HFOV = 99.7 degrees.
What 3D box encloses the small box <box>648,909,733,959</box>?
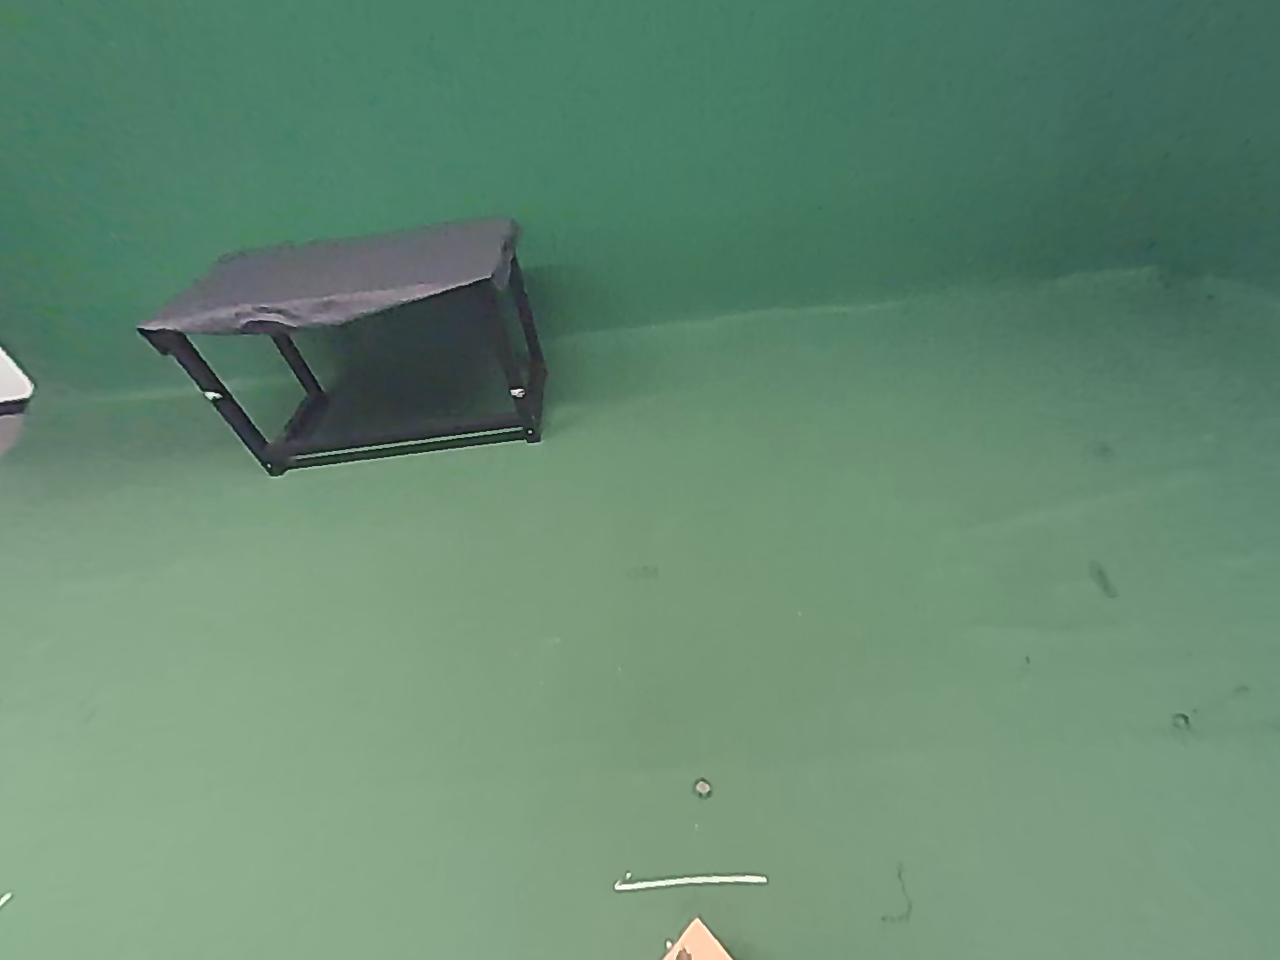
[{"bbox_3d":[0.098,0.899,0.936,0.168,0.176,0.179,-36,50,-26],"label":"small box"}]
